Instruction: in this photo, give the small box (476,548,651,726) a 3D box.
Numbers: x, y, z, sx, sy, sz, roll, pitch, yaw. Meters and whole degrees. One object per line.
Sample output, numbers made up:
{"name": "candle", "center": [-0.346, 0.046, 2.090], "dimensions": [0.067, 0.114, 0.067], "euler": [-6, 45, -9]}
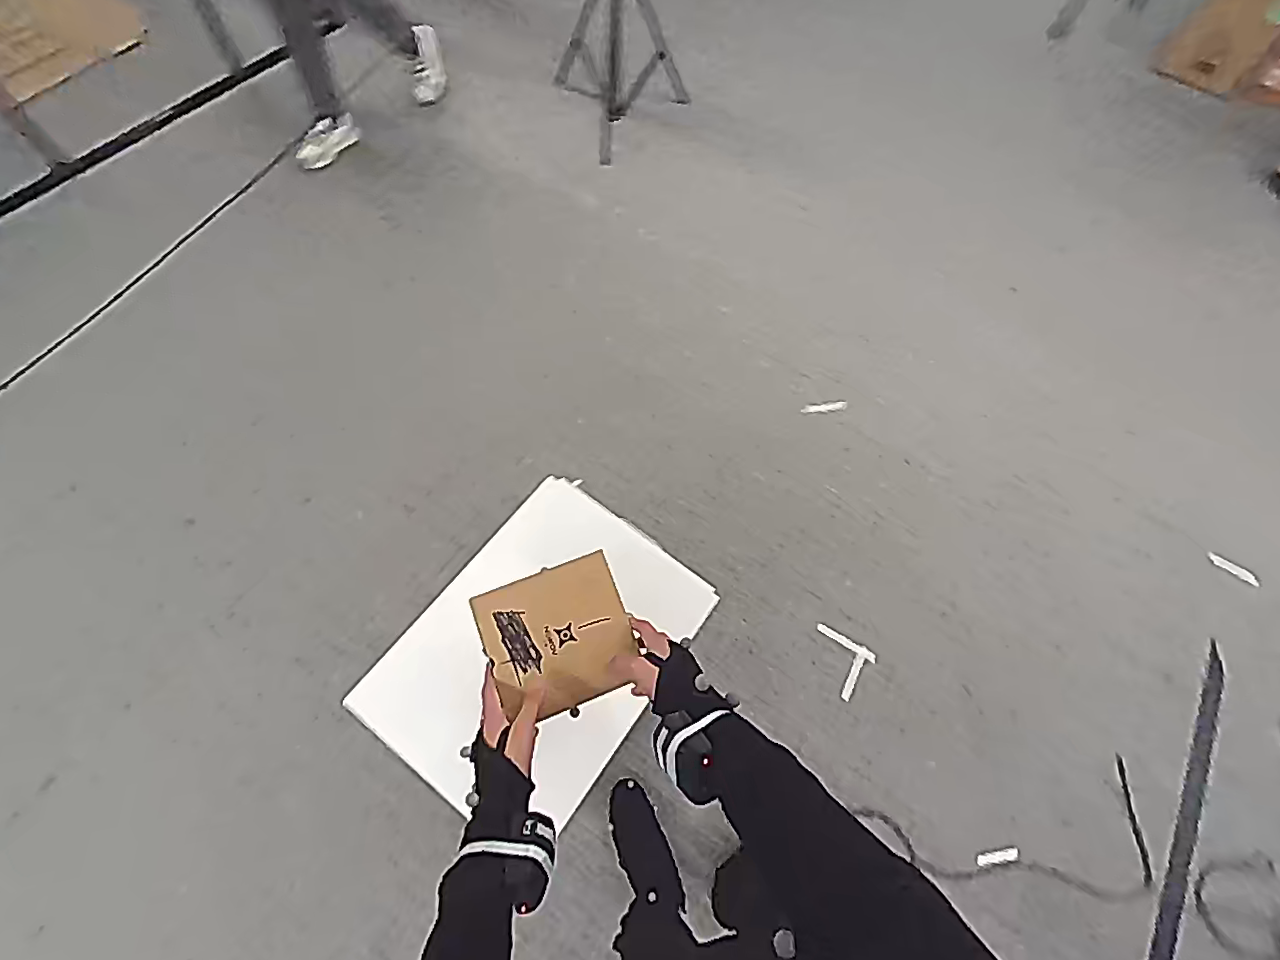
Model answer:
{"name": "small box", "center": [-0.099, 0.210, 0.728], "dimensions": [0.179, 0.176, 0.168], "euler": [-19, 75, -11]}
